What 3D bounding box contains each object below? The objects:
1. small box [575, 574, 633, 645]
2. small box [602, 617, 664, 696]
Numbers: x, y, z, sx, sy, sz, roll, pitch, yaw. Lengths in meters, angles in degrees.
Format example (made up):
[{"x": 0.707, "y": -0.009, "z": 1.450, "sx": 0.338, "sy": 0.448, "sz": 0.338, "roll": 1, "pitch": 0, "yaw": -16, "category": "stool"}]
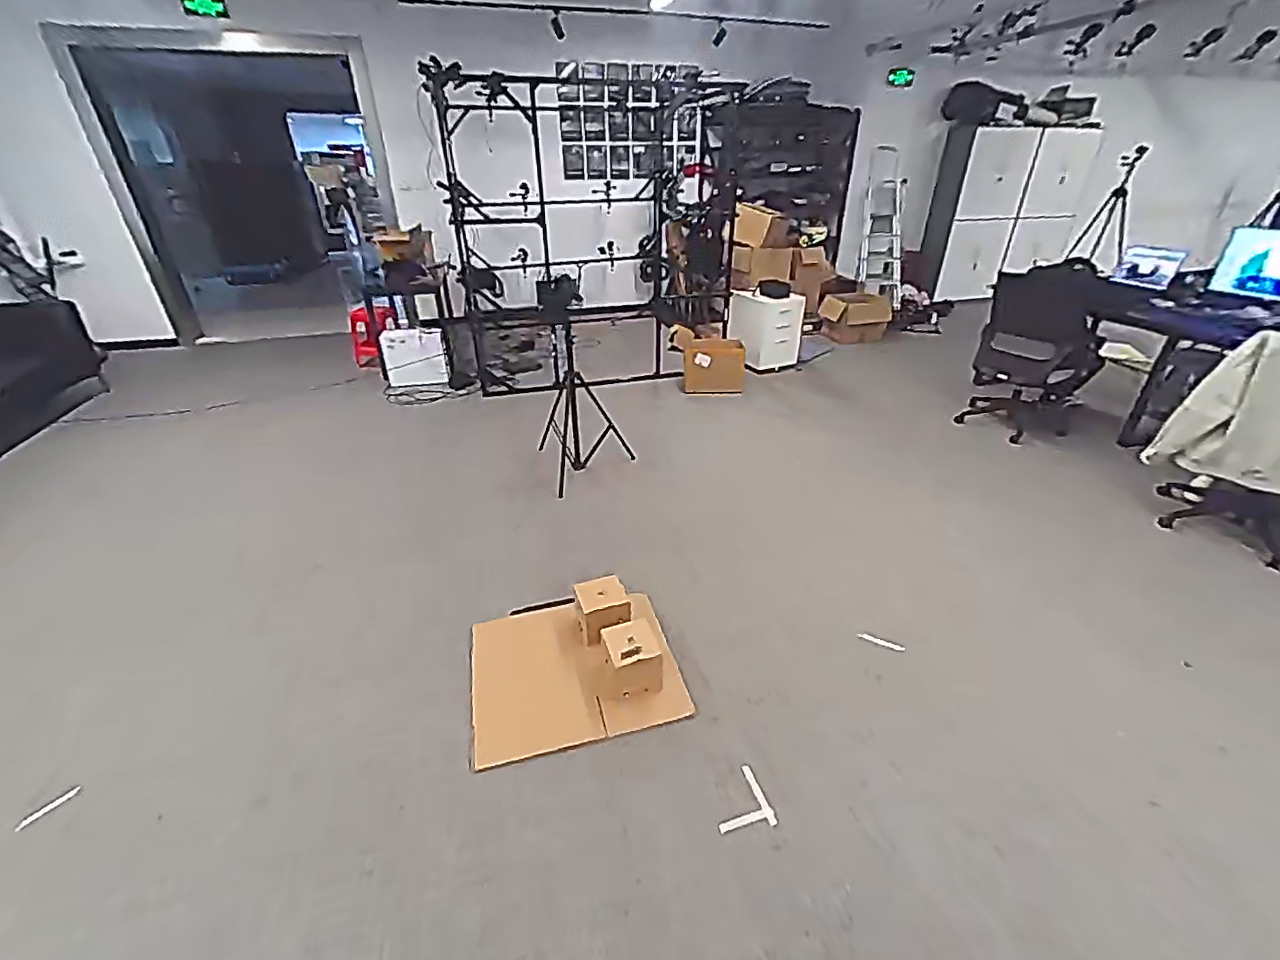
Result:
[{"x": -0.134, "y": 0.485, "z": 2.027, "sx": 0.179, "sy": 0.176, "sz": 0.168, "roll": -13, "pitch": 31, "yaw": -18, "category": "small box"}, {"x": -0.023, "y": 0.599, "z": 1.821, "sx": 0.168, "sy": 0.176, "sz": 0.179, "roll": -10, "pitch": 31, "yaw": -16, "category": "small box"}]
